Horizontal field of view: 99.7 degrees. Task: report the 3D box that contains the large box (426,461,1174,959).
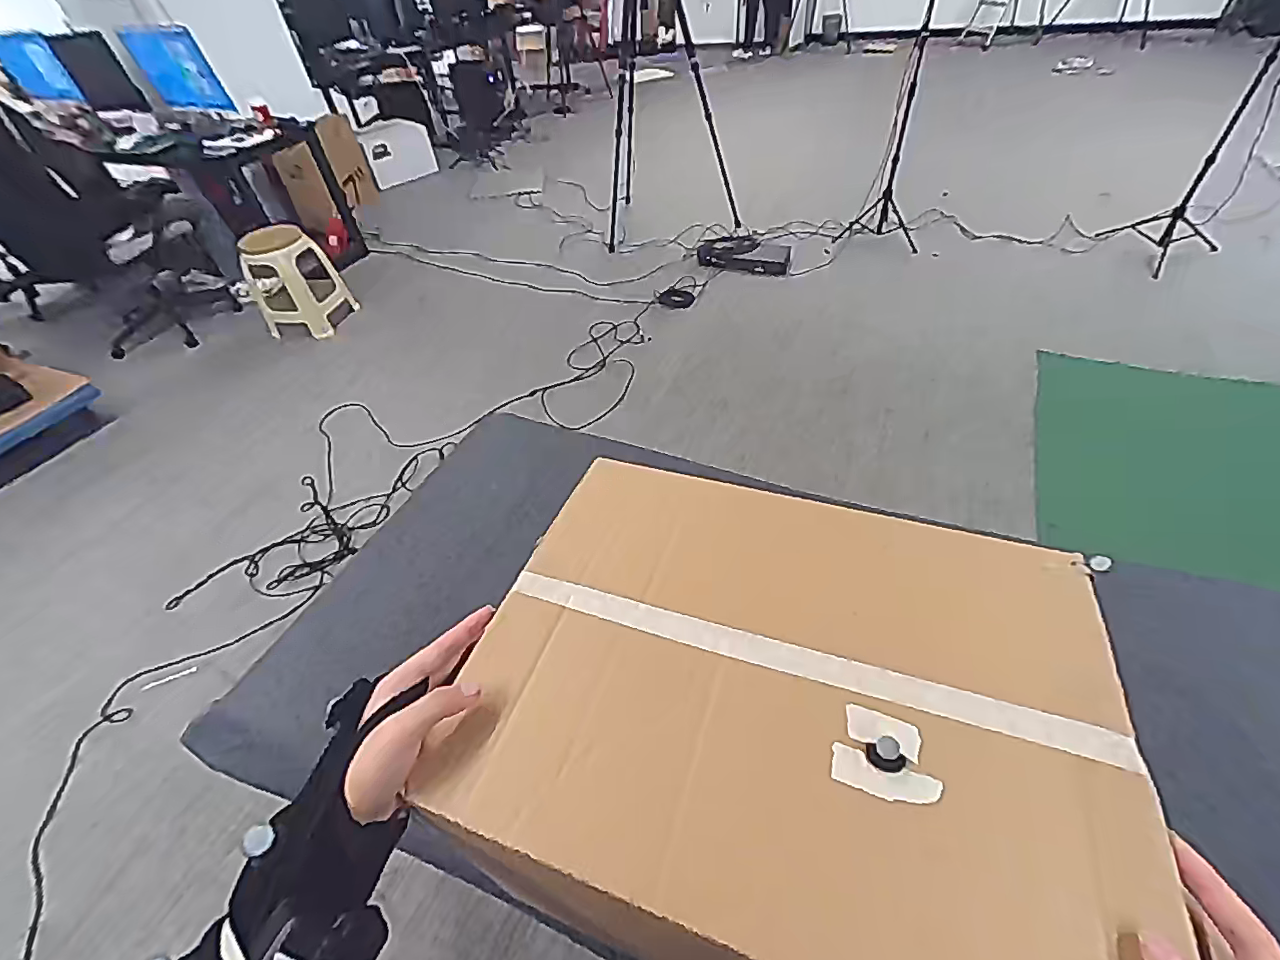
[{"bbox_3d":[0.106,0.226,0.481,0.408,0.320,0.320,13,47,16],"label":"large box"}]
